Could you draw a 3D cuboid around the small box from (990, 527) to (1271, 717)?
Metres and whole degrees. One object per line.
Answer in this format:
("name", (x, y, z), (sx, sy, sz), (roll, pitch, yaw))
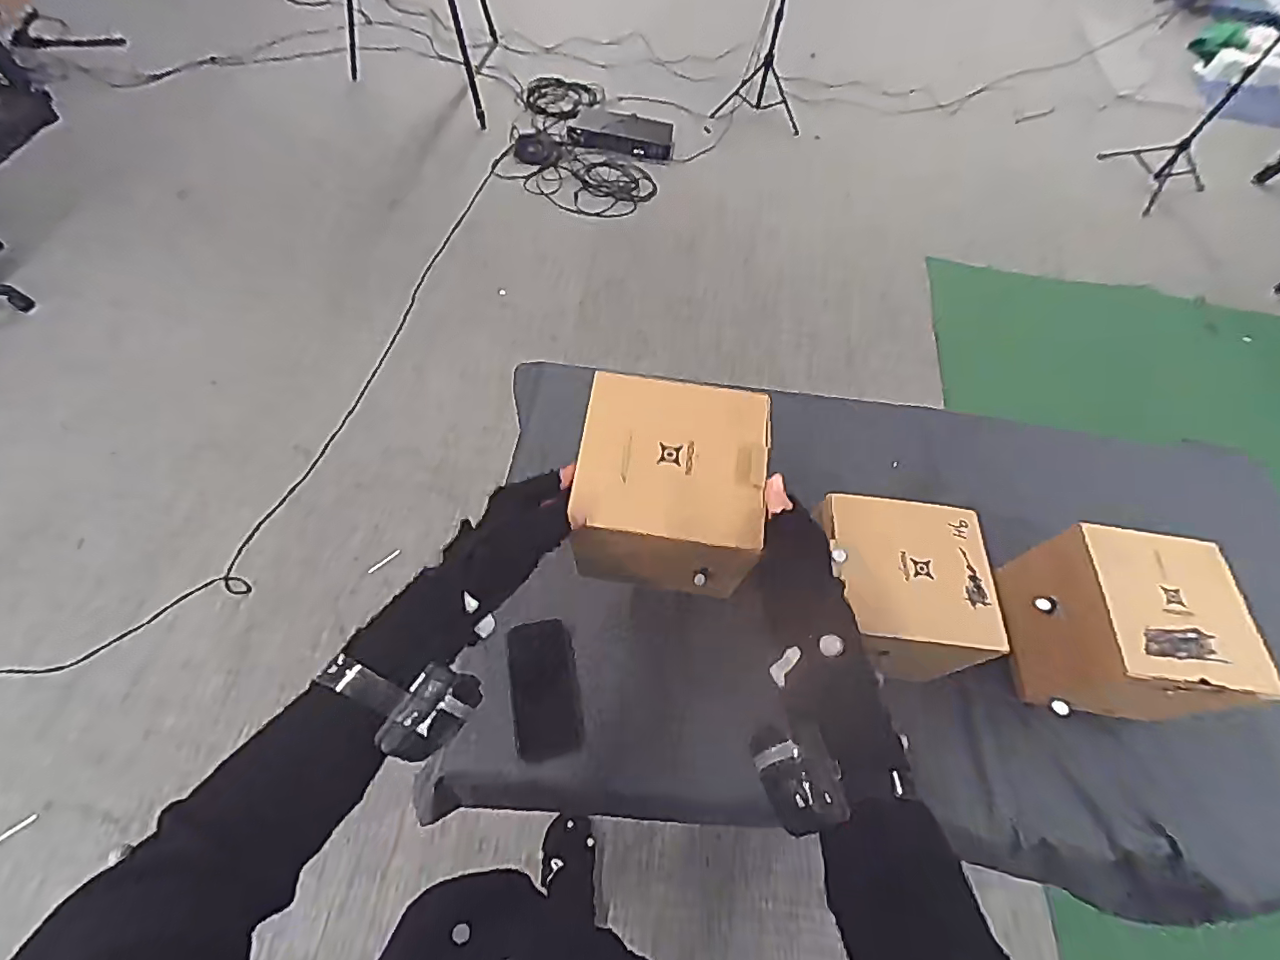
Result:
("small box", (0.576, 0.182, 0.669), (0.168, 0.176, 0.179), (9, 58, 0))

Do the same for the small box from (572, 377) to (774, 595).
("small box", (0.034, 0.016, 0.571), (0.179, 0.176, 0.168), (7, 63, 2))

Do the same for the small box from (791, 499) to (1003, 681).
("small box", (0.293, 0.141, 0.668), (0.179, 0.176, 0.168), (7, 59, -1))
